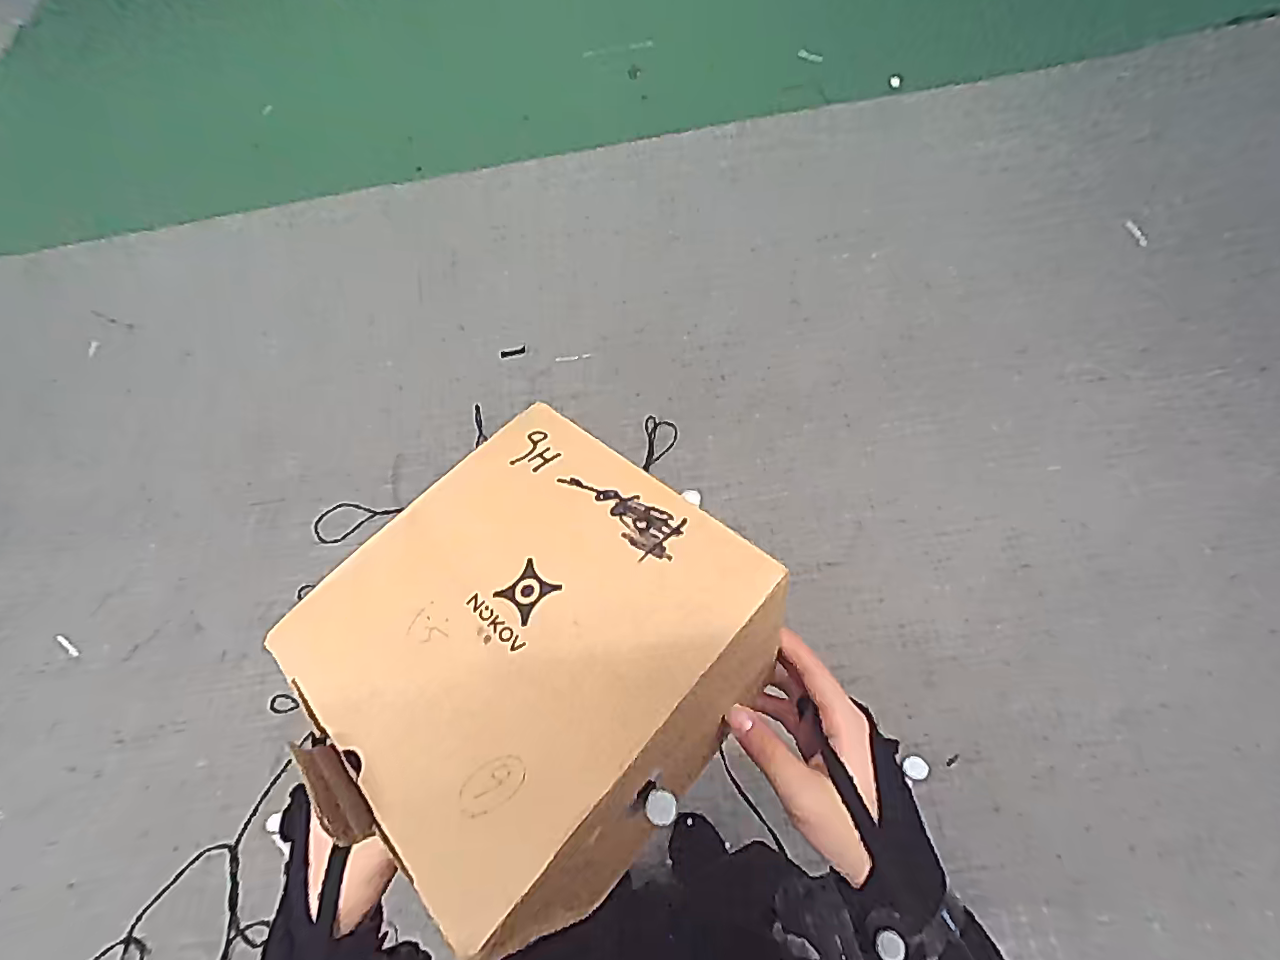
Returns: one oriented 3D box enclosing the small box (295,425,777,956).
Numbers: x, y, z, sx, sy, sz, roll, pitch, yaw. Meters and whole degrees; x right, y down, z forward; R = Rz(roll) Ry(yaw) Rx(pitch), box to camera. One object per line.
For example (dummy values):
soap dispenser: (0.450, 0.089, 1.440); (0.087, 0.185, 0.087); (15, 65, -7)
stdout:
small box: (-0.038, 0.109, 0.311); (0.168, 0.176, 0.179); (34, 69, 29)
